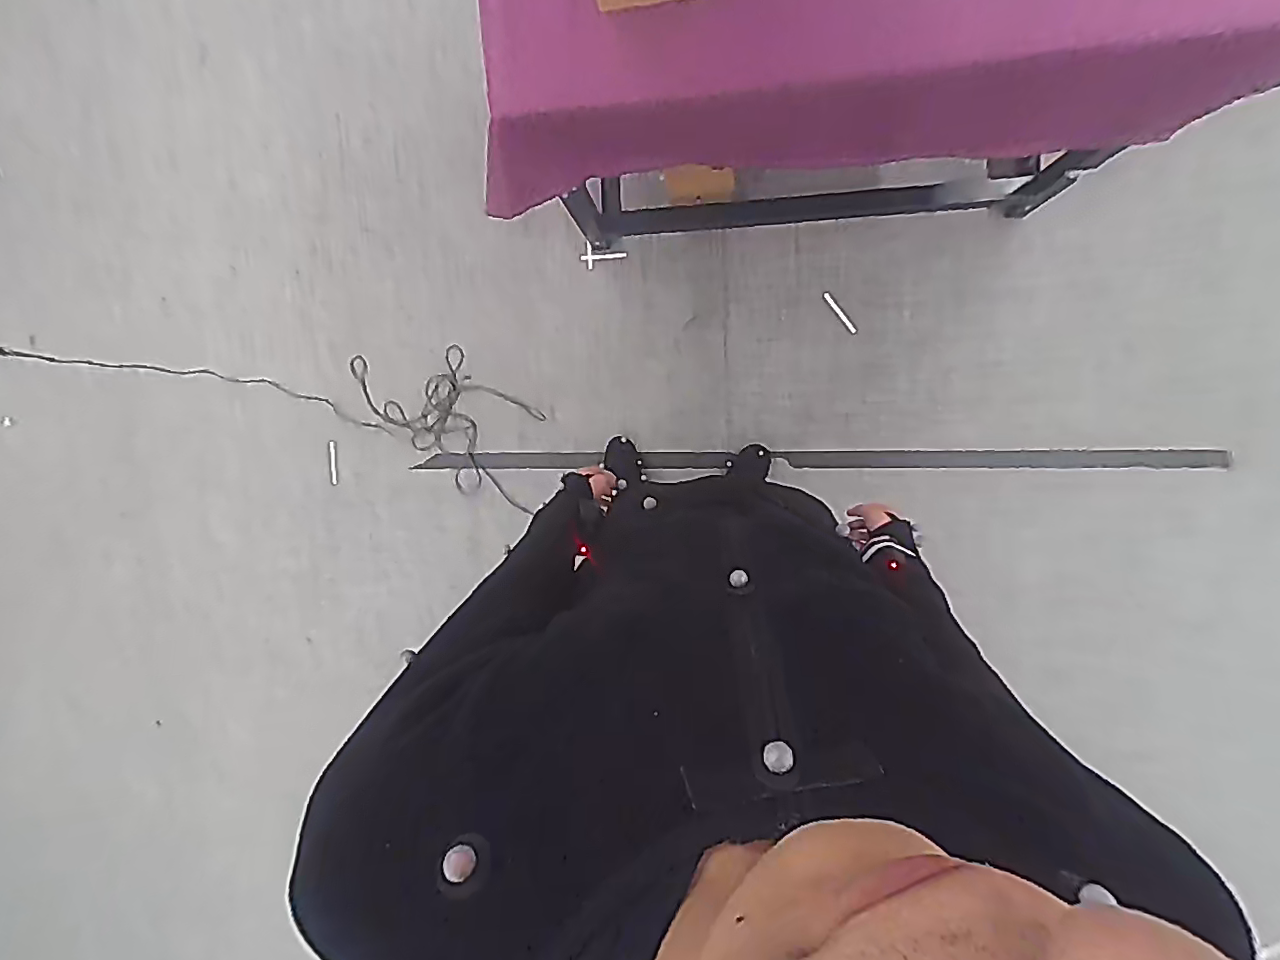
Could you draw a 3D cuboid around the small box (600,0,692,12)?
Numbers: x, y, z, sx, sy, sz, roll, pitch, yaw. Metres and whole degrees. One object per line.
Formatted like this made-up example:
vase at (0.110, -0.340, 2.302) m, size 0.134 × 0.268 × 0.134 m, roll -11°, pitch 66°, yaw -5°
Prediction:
small box at (0.003, -0.808, 0.744) m, size 0.168 × 0.176 × 0.179 m, roll -3°, pitch 94°, yaw 7°
